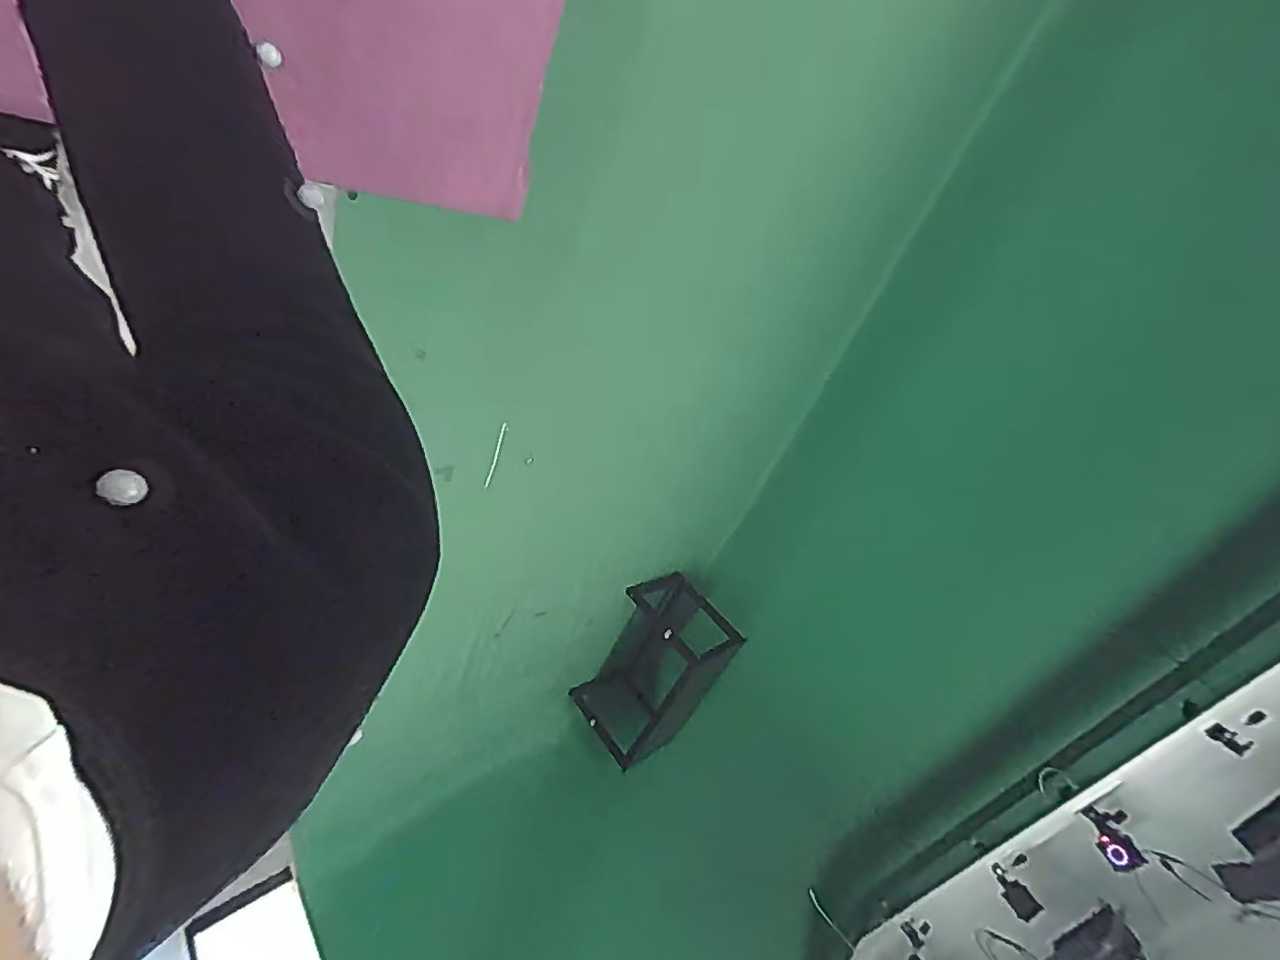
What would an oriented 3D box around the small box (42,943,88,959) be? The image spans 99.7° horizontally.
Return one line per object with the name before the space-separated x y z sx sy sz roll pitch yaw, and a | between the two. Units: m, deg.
small box | -1.504 1.332 1.363 0.168 0.176 0.179 -8 132 -48
